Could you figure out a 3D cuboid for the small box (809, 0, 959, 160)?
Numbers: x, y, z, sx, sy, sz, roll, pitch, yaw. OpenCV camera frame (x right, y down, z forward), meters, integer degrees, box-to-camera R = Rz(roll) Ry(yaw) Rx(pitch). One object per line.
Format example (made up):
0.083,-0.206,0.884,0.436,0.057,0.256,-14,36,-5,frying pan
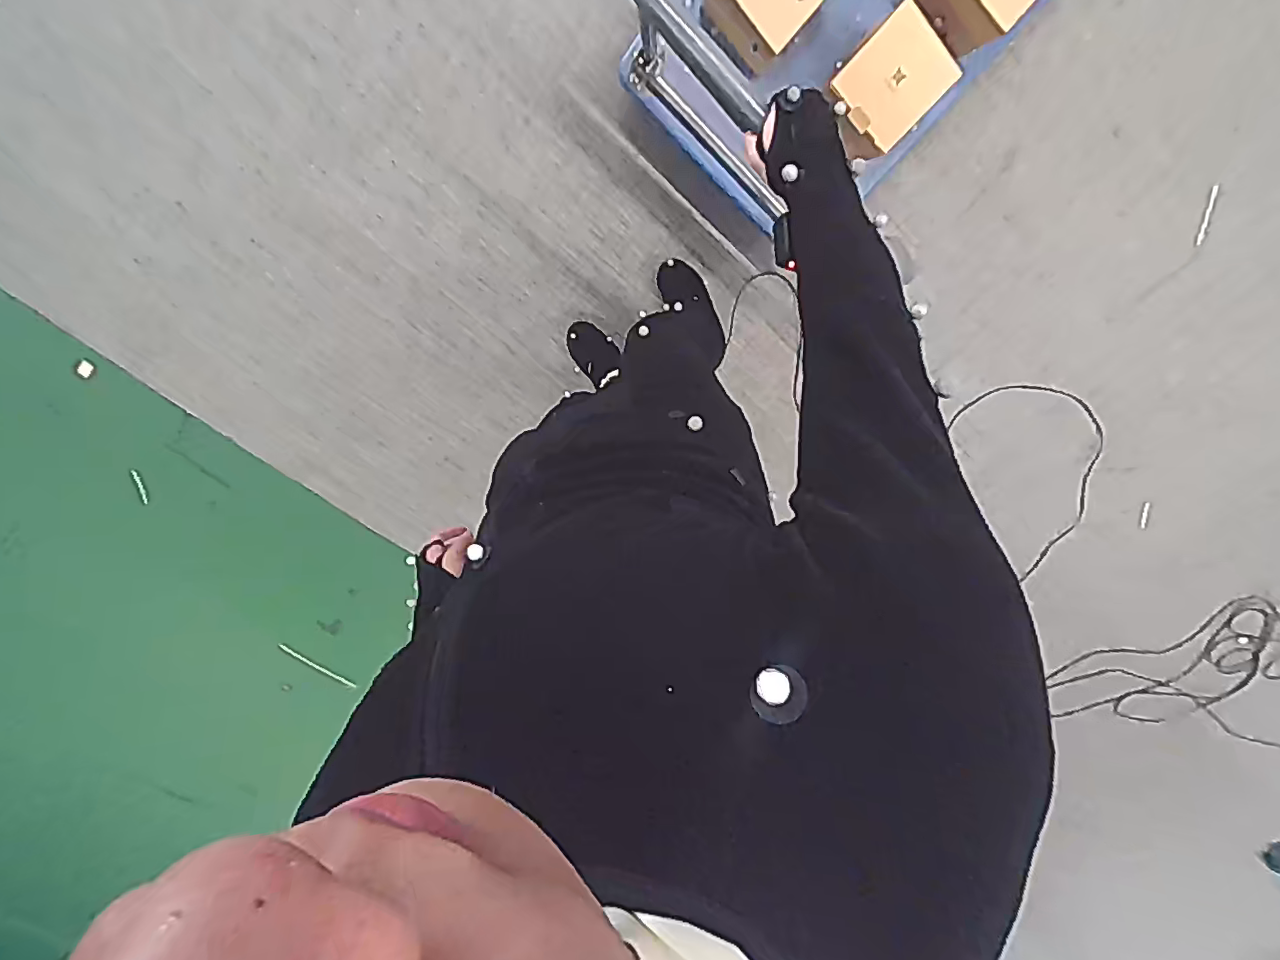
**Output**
0.460,-0.759,1.047,0.168,0.176,0.179,40,110,-16,small box

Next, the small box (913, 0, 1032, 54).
0.629,-0.922,0.967,0.168,0.176,0.179,37,111,-15,small box
